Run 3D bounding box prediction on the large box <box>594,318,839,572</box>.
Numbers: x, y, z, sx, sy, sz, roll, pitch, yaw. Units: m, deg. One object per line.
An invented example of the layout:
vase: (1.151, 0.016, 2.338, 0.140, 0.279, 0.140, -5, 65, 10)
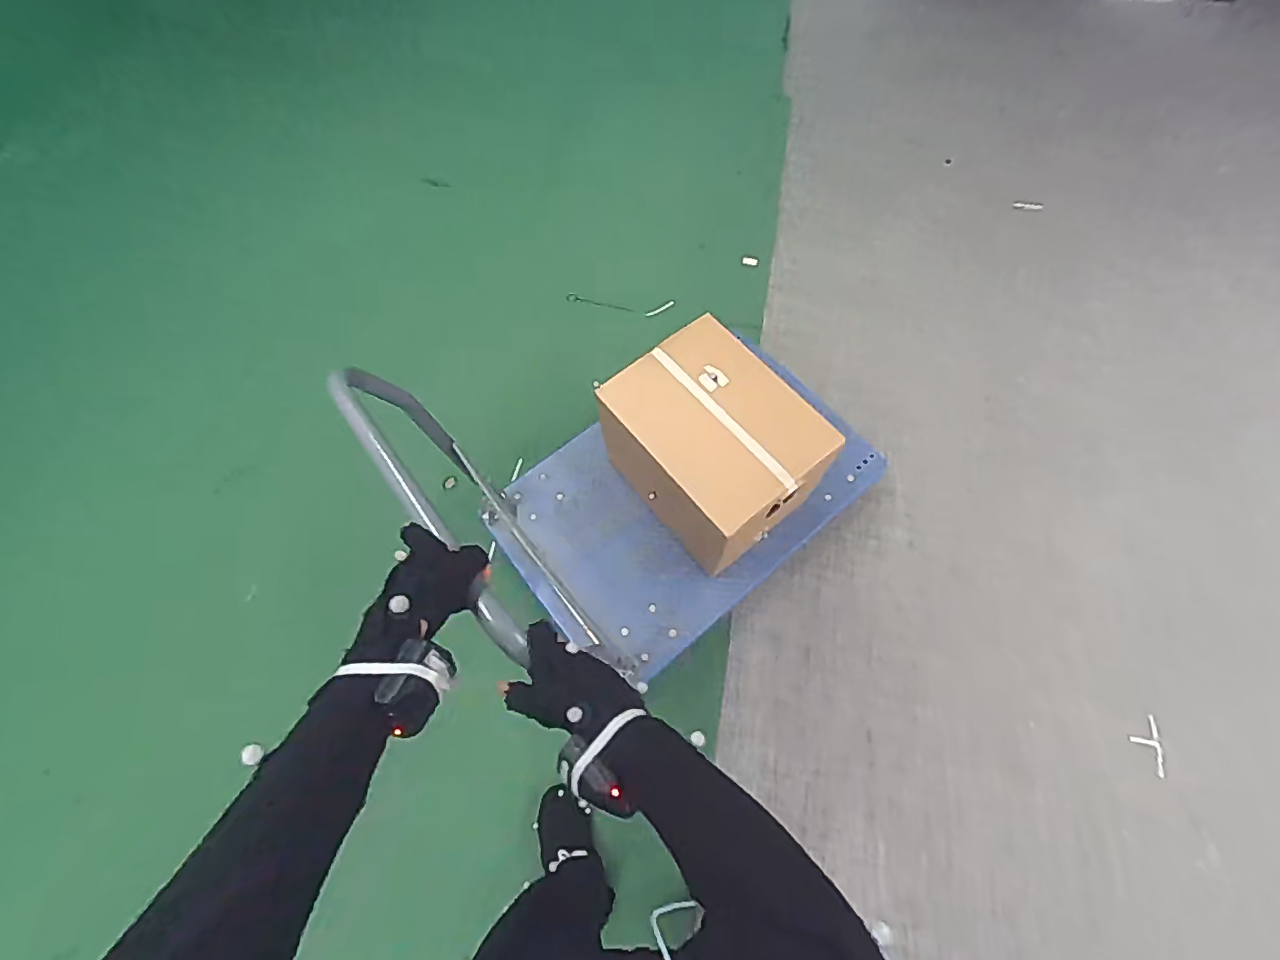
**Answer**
large box: (0.153, -0.068, 1.210, 0.320, 0.320, 0.408, -36, 69, -14)
